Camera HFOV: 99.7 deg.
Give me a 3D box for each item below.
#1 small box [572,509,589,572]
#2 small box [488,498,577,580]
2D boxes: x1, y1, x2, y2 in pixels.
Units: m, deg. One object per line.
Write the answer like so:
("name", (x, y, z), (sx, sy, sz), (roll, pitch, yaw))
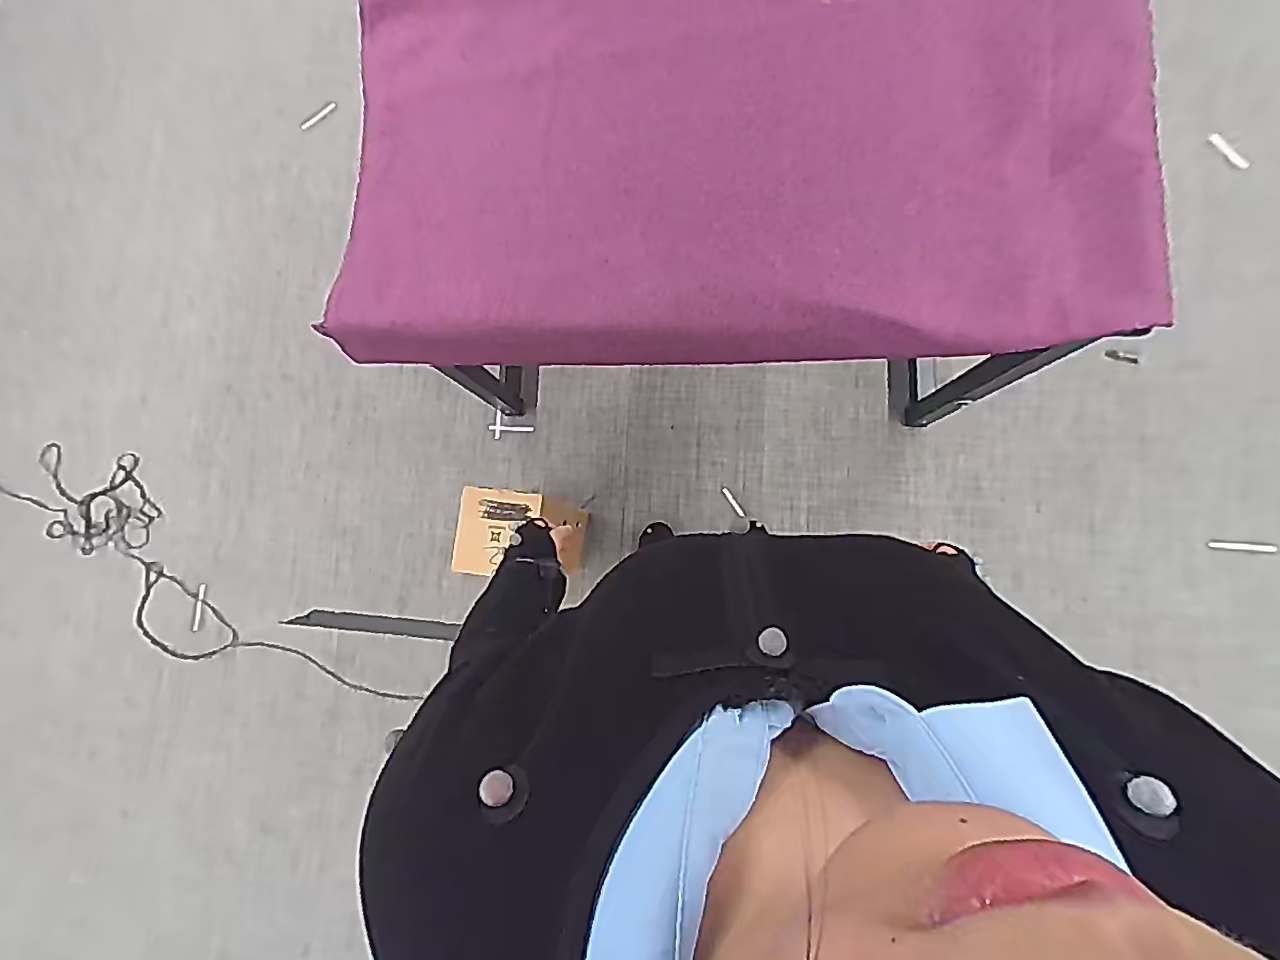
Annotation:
("small box", (-0.244, 0.156, 1.470), (0.168, 0.176, 0.179), (9, 84, 6))
("small box", (-0.251, 0.142, 1.306), (0.168, 0.176, 0.179), (4, 84, 6))
